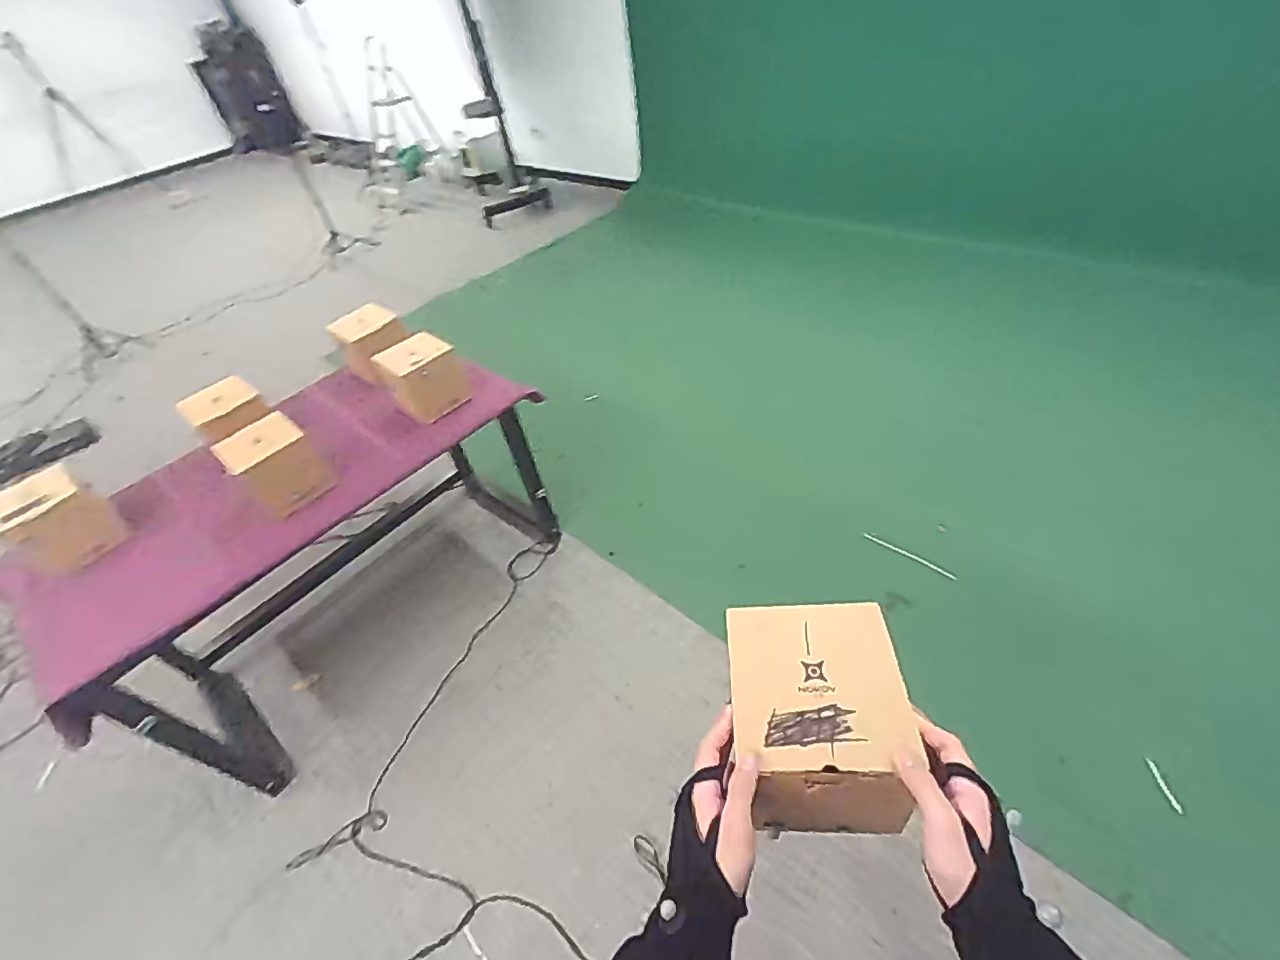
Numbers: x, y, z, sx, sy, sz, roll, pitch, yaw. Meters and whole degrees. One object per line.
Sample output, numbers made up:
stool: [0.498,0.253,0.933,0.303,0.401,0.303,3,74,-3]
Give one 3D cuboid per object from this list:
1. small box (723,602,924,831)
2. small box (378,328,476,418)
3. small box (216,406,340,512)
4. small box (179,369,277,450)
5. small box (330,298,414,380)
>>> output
small box: [0.178,0.252,0.576,0.168,0.176,0.179,-4,41,8]
small box: [-0.598,-0.300,1.531,0.179,0.176,0.168,30,58,35]
small box: [-0.886,-0.050,1.335,0.179,0.176,0.168,30,57,33]
small box: [-1.106,-0.174,1.493,0.179,0.176,0.168,29,56,30]
small box: [-0.825,-0.441,1.704,0.179,0.176,0.168,29,59,31]
